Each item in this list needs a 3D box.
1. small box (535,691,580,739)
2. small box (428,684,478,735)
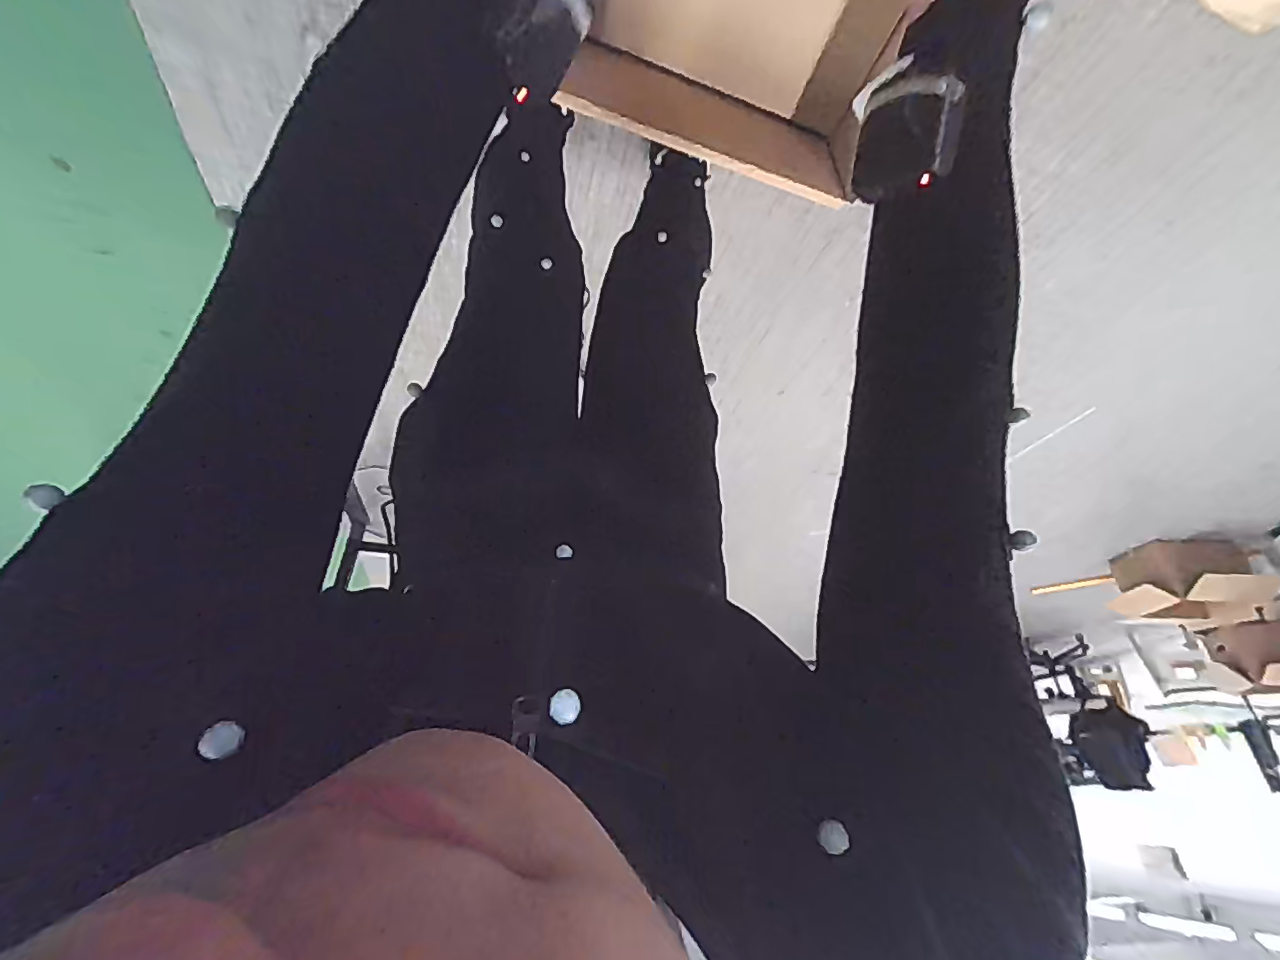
[{"bbox_3d":[-0.347,0.993,2.282,0.168,0.176,0.179,8,149,-11],"label":"small box"},{"bbox_3d":[-0.758,0.934,2.197,0.168,0.176,0.179,9,148,-12],"label":"small box"}]
